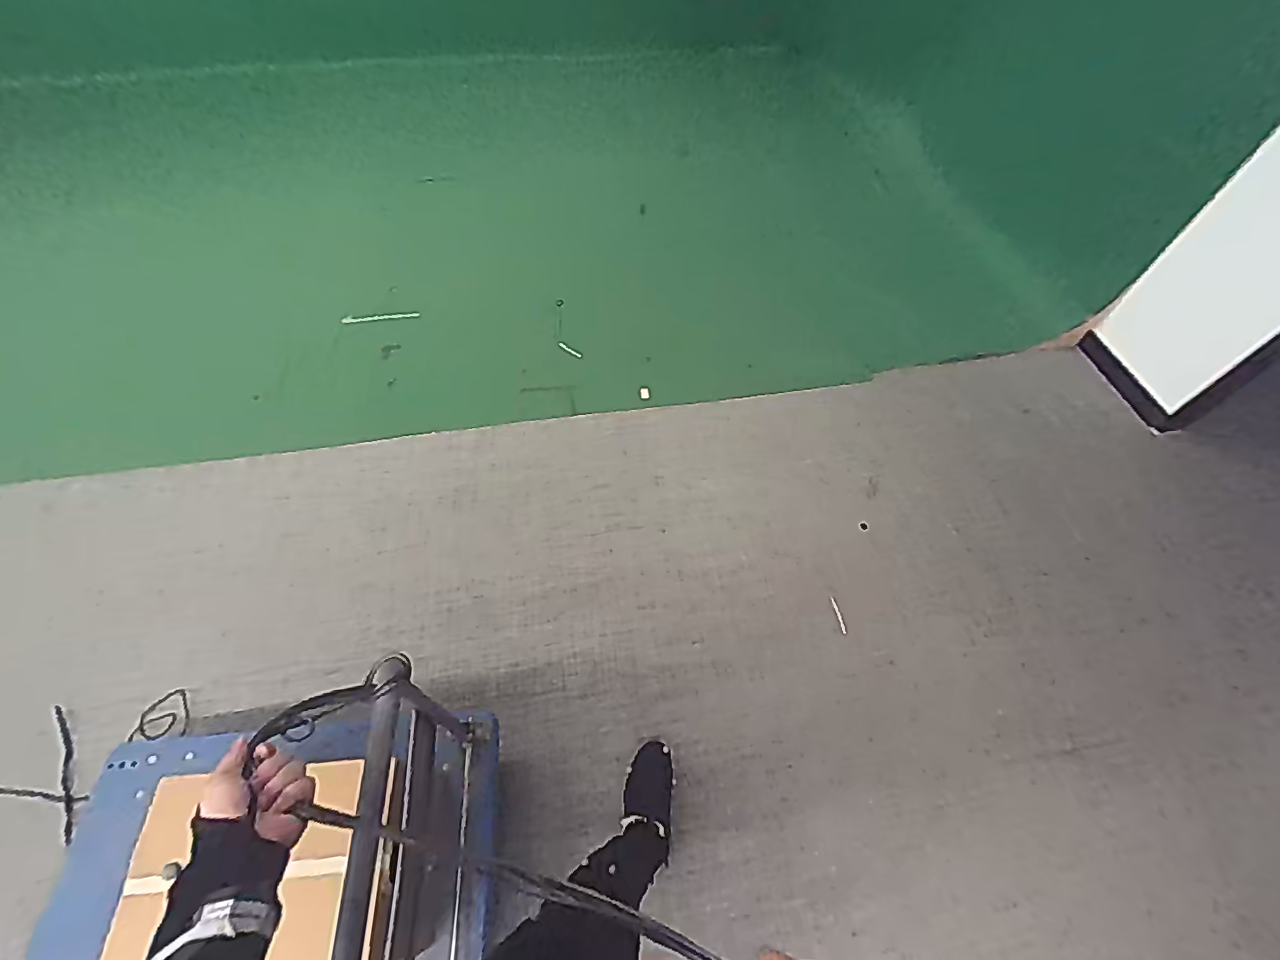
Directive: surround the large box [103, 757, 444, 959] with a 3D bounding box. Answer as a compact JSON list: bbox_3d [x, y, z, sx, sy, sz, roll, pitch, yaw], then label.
[{"bbox_3d":[-0.612,0.715,0.989,0.408,0.320,0.320,-4,57,-3],"label":"large box"}]
